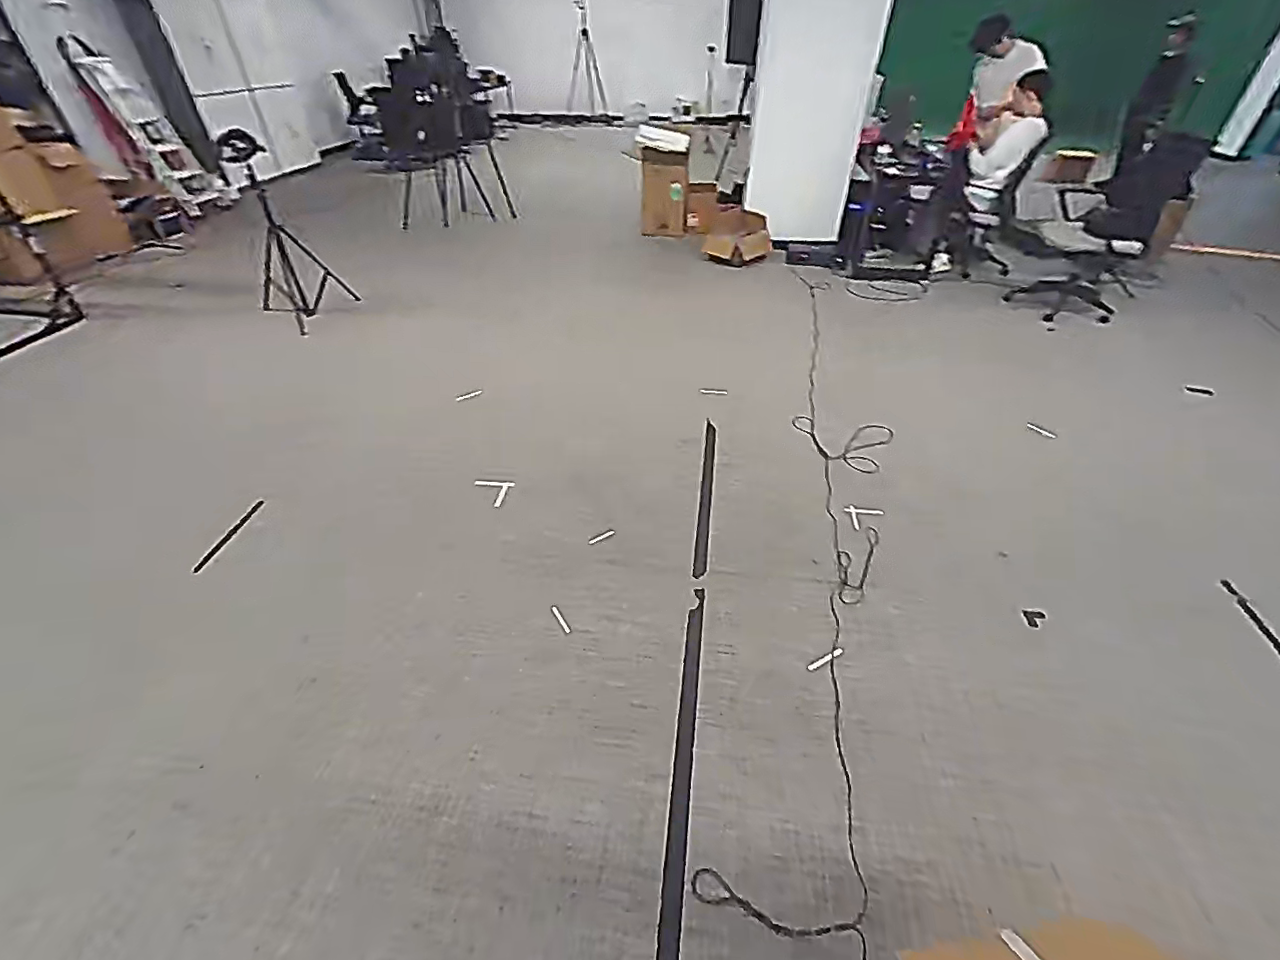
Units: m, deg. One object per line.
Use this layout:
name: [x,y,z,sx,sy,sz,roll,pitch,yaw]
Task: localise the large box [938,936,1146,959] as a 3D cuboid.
large box: [0.519,0.754,0.530,0.320,0.408,0.320,-13,73,3]
